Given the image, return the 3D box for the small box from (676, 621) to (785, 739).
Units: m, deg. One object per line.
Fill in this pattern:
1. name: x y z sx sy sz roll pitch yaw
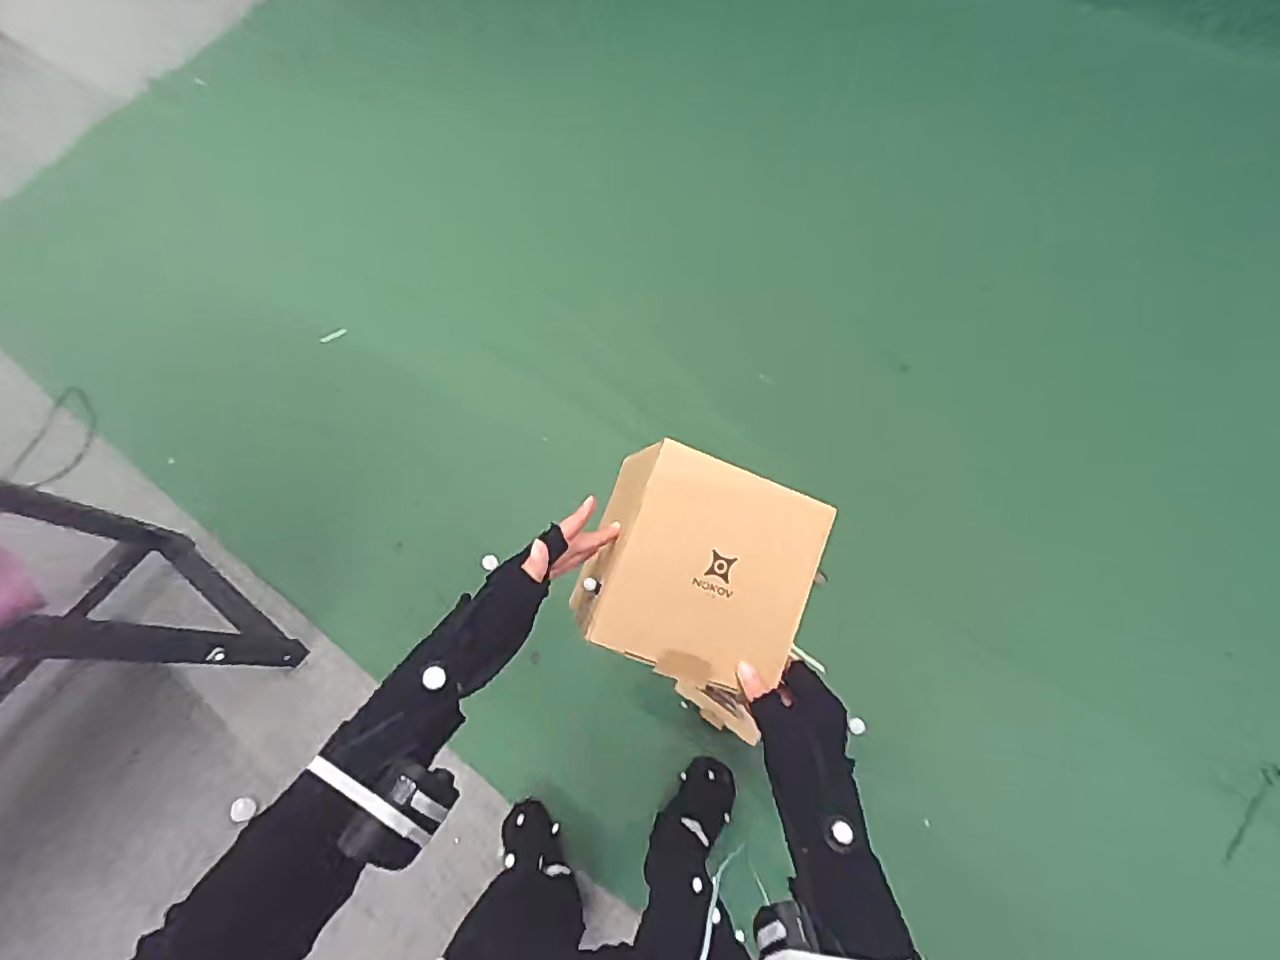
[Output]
1. small box: 0.197 0.441 1.197 0.168 0.176 0.179 33 75 17
